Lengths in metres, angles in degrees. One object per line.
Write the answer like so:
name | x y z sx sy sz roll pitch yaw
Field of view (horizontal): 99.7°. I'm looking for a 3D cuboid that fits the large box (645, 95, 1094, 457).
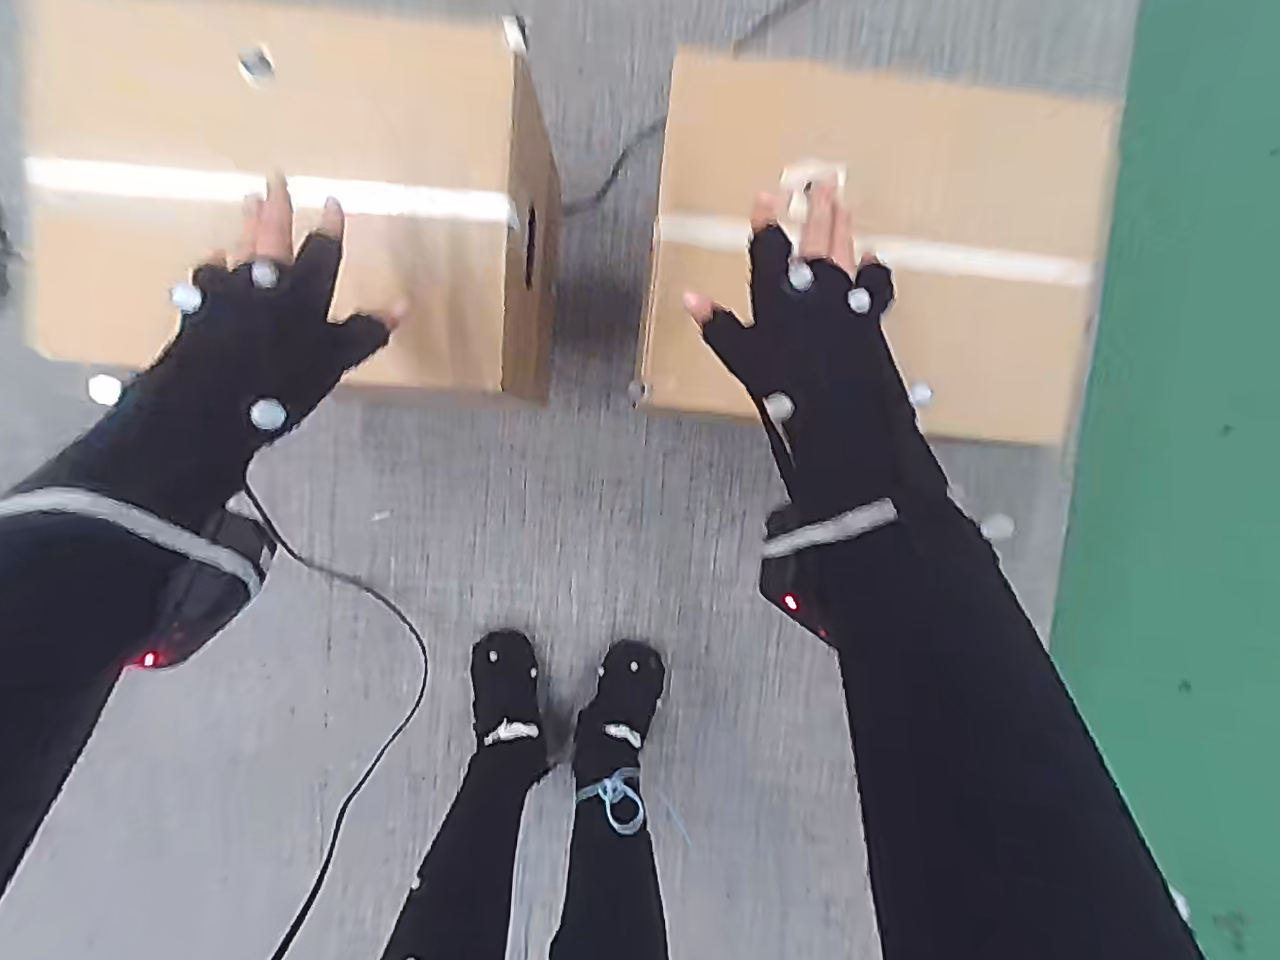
large box | 0.223 -0.207 0.673 0.408 0.320 0.320 6 94 -2
